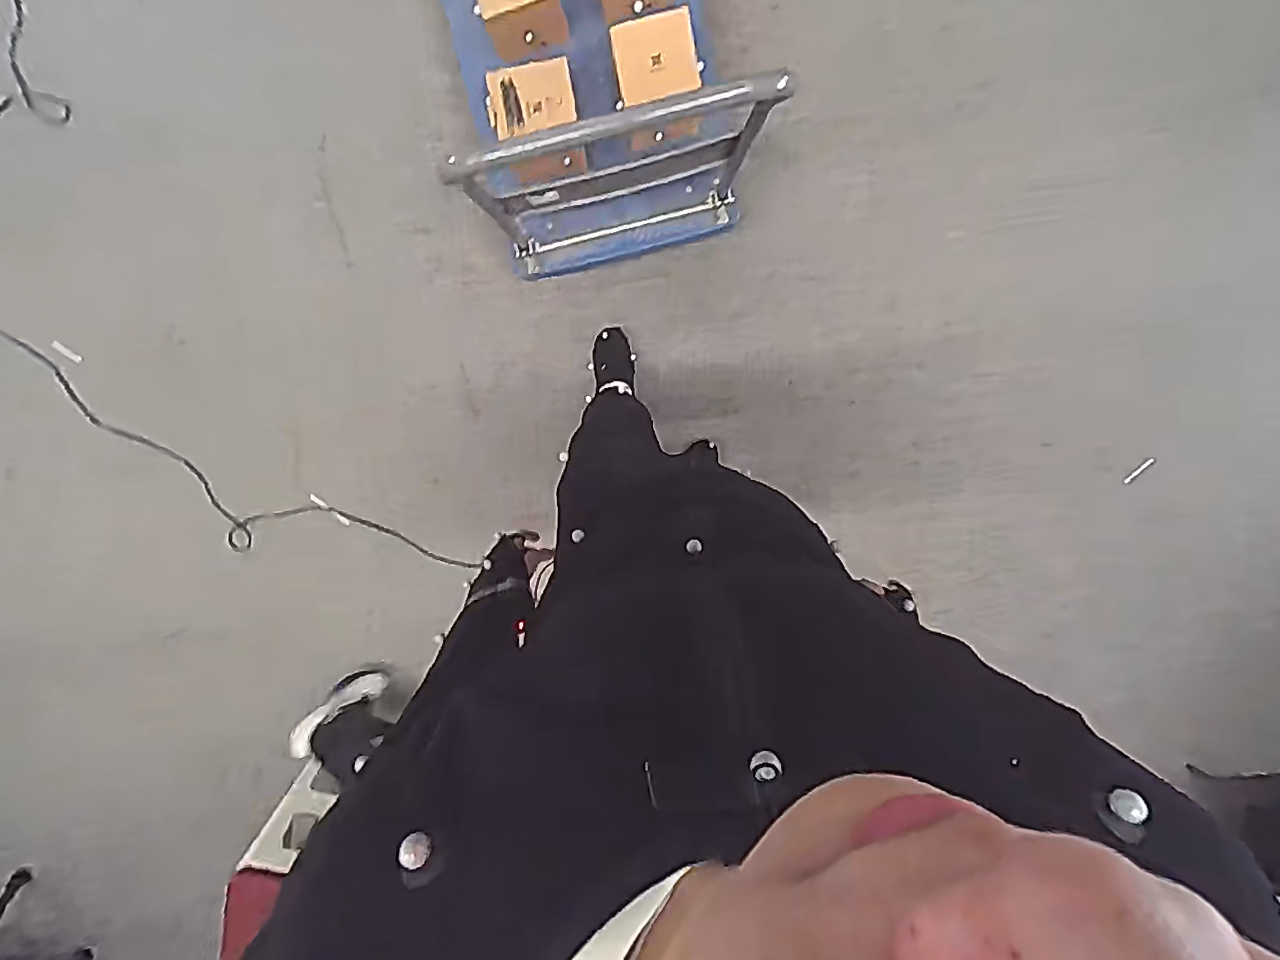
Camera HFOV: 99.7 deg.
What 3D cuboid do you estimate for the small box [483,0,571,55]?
[{"bbox_3d":[-0.260,-1.080,1.185,0.168,0.176,0.179,-17,99,4],"label":"small box"}]

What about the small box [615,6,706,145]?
[{"bbox_3d":[0.044,-0.893,1.210,0.168,0.176,0.179,-12,100,4],"label":"small box"}]

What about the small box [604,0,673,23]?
[{"bbox_3d":[-0.020,-1.152,1.164,0.168,0.176,0.179,-16,100,5],"label":"small box"}]
